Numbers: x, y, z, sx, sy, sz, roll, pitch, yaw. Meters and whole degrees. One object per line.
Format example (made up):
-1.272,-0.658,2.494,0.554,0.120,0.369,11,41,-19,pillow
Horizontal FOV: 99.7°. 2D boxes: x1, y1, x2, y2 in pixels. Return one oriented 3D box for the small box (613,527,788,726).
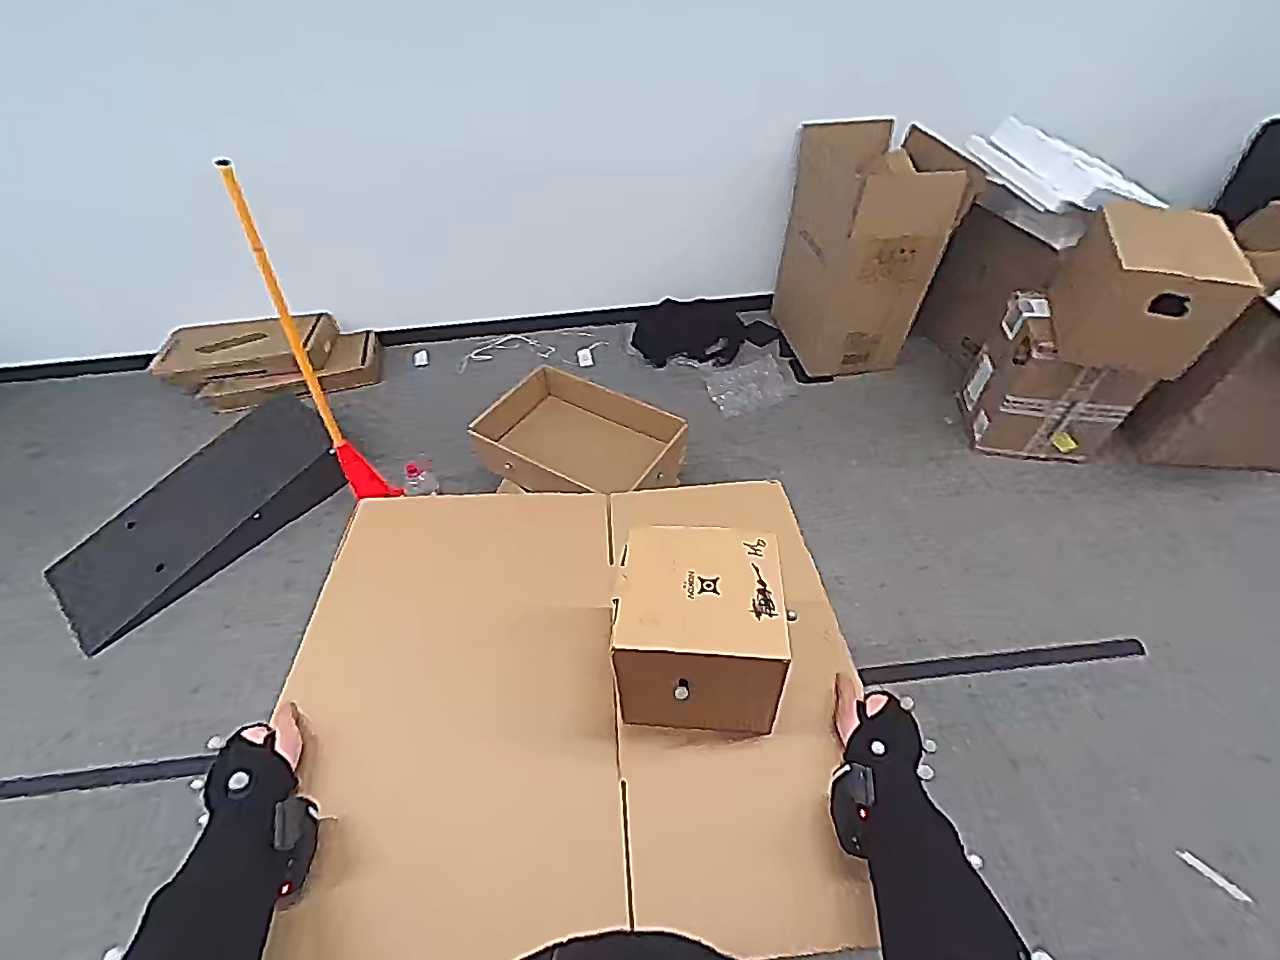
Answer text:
0.072,0.174,0.642,0.179,0.176,0.168,1,43,7,small box
